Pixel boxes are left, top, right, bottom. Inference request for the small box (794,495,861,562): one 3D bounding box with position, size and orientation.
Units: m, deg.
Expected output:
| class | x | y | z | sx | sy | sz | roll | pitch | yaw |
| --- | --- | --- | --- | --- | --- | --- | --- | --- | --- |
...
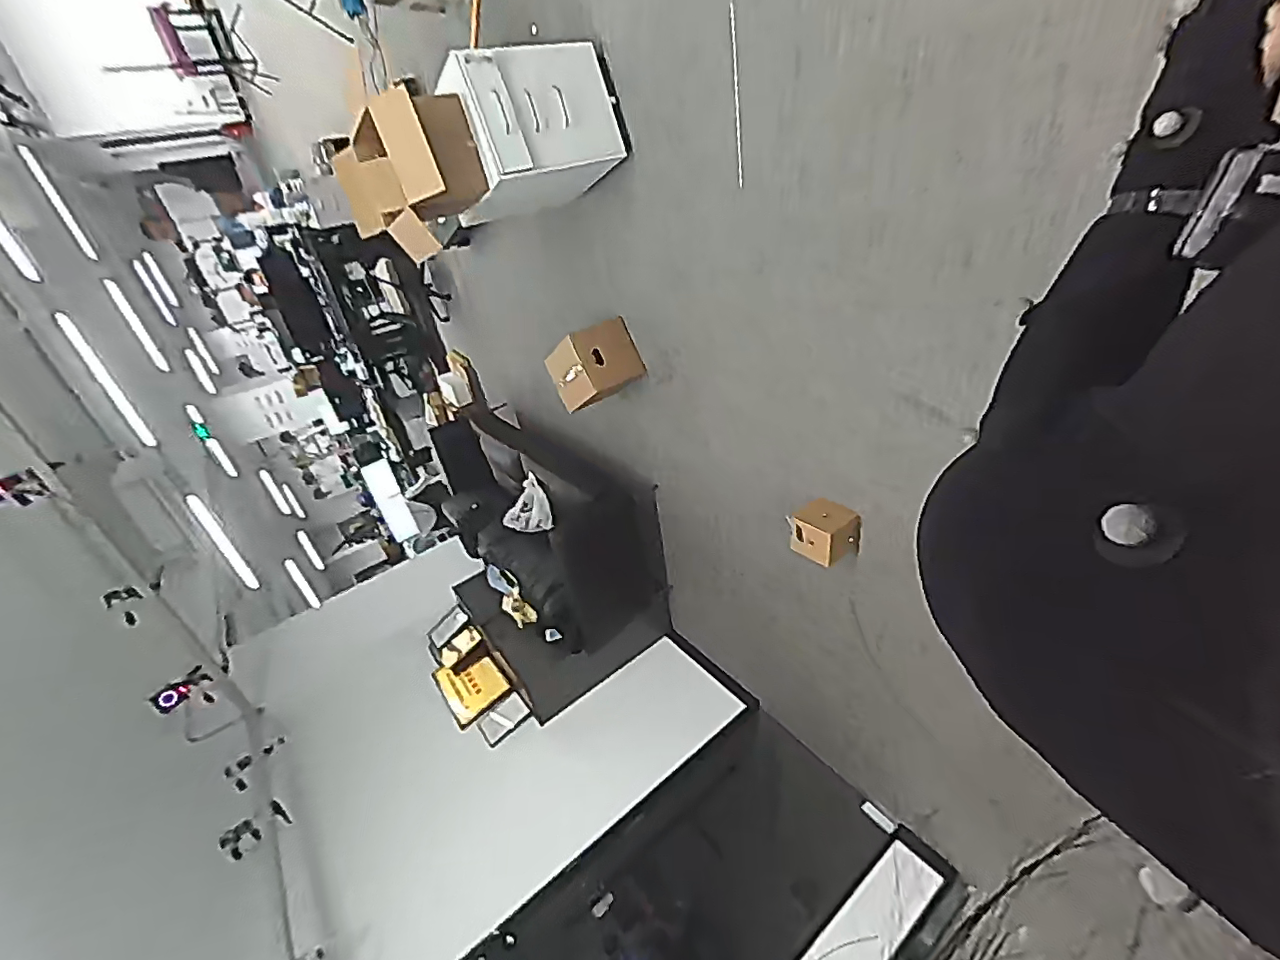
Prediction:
| class | x | y | z | sx | sy | sz | roll | pitch | yaw |
| --- | --- | --- | --- | --- | --- | --- | --- | --- | --- |
| small box | 0.719 | 0.179 | 2.083 | 0.179 | 0.176 | 0.168 | 31 | 140 | 45 |
